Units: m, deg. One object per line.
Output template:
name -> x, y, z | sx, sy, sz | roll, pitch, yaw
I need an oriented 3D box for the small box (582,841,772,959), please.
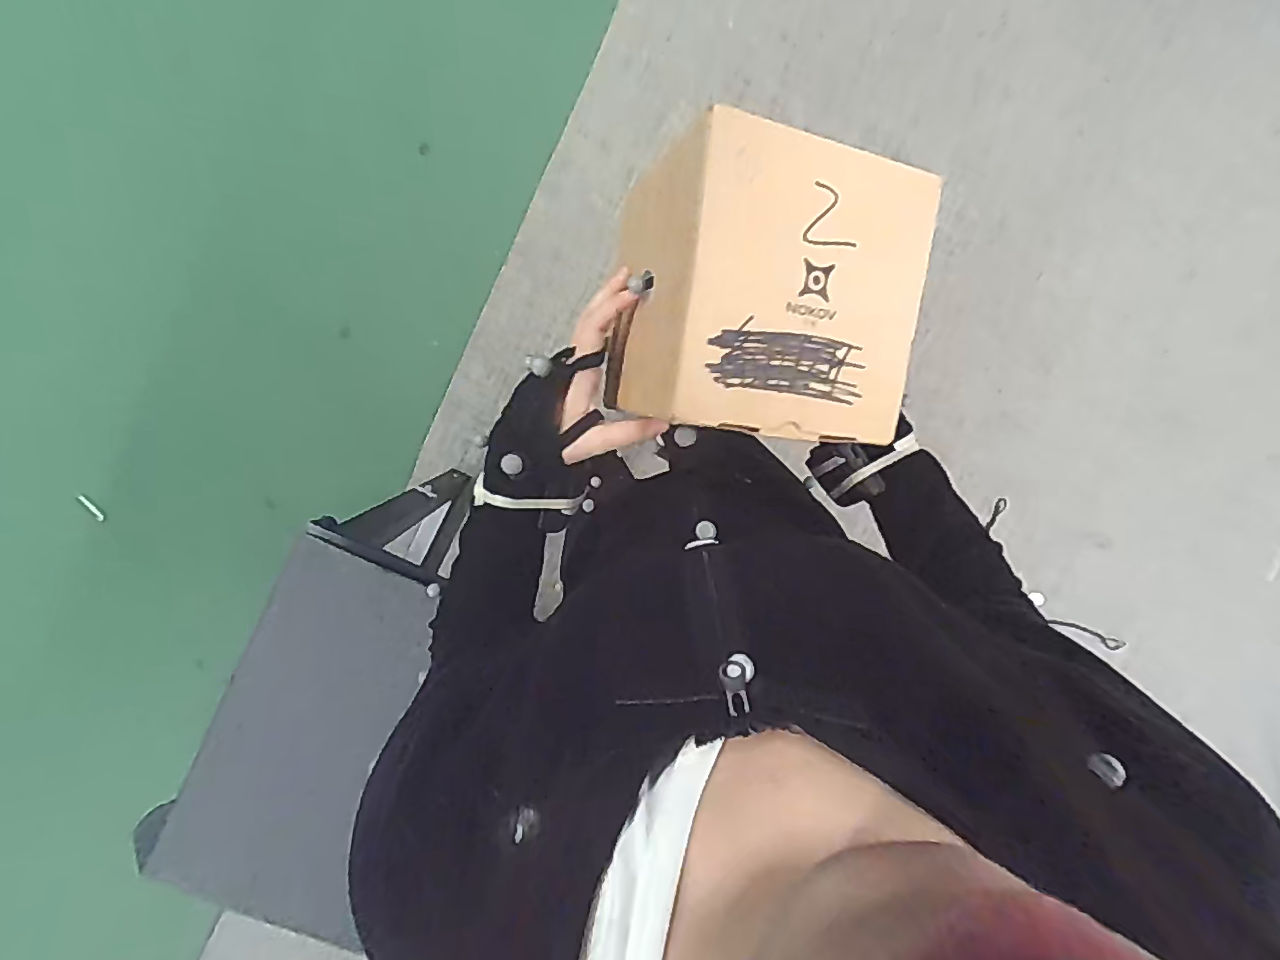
small box -> 0.039, 0.548, 0.583 | 0.168, 0.176, 0.179 | 28, 95, -7

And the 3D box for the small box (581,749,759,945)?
small box -> 0.034, 0.518, 0.742 | 0.168, 0.176, 0.179 | 27, 96, -8
